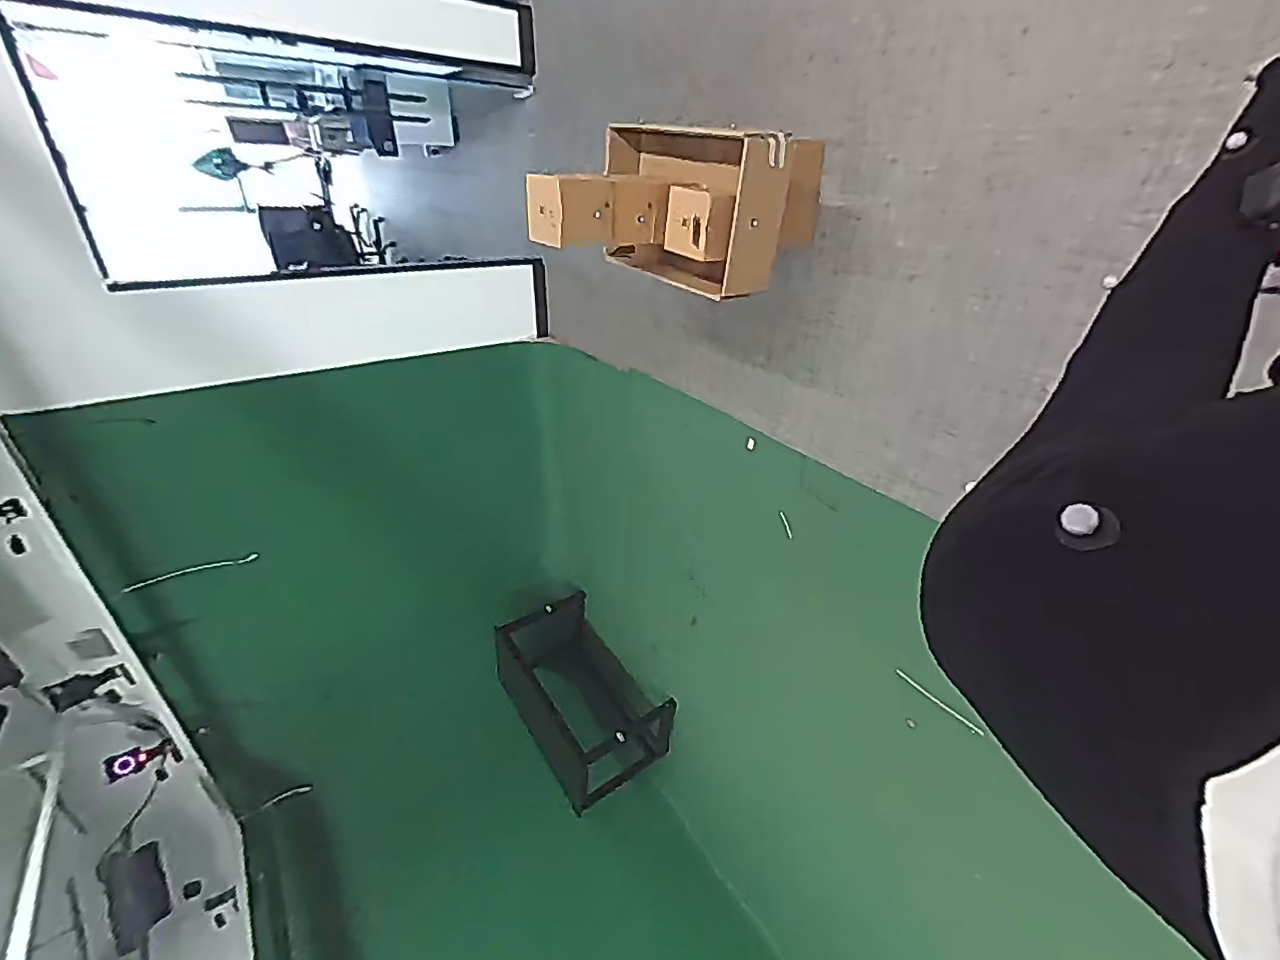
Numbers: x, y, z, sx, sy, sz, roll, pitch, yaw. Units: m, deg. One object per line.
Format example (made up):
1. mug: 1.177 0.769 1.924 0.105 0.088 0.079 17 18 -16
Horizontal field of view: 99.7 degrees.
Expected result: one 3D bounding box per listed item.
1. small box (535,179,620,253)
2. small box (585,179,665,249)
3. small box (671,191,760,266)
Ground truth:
1. small box: -0.174 -0.732 1.494 0.179 0.176 0.168 35 133 41
2. small box: -0.051 -0.784 1.593 0.179 0.176 0.168 37 134 40
3. small box: 0.212 -0.712 1.522 0.179 0.176 0.168 41 137 43
